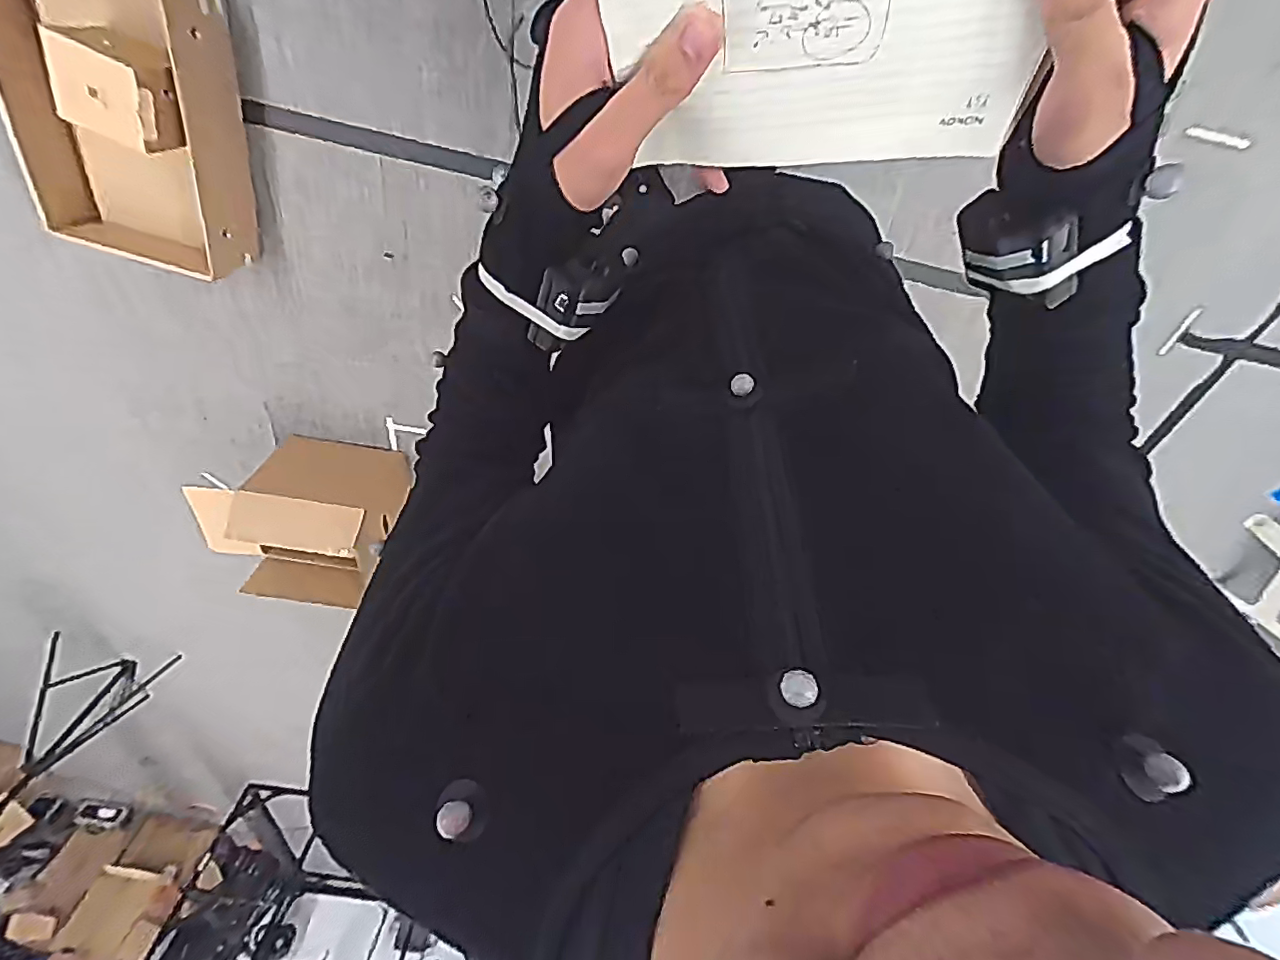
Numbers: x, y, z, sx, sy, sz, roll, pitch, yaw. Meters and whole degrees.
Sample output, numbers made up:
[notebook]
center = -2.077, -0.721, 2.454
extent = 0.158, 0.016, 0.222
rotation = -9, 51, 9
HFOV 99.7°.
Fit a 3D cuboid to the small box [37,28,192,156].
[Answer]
[small box]
center = -1.116, -0.842, 1.172
extent = 0.179, 0.176, 0.168
rotation = 22, 127, -13
